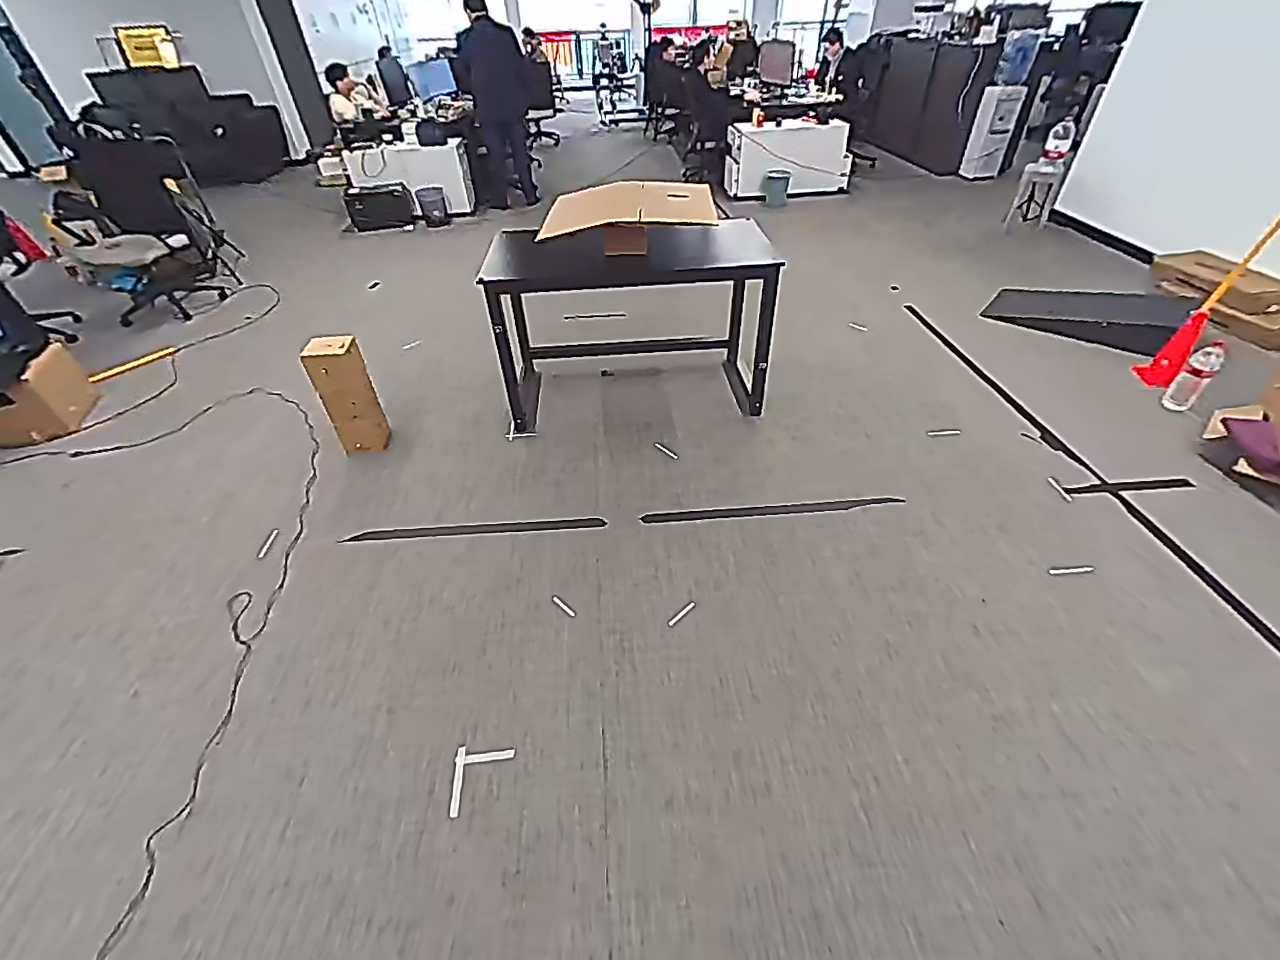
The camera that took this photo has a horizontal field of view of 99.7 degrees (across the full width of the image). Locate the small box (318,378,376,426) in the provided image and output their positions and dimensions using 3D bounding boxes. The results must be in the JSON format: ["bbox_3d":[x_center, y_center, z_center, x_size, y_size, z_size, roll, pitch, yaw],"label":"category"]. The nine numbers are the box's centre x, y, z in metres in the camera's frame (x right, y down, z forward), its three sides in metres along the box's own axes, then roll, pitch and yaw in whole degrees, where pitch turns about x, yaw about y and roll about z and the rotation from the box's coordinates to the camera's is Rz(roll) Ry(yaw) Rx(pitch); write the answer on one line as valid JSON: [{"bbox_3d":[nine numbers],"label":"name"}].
[{"bbox_3d":[-1.297,-0.352,2.403,0.168,0.176,0.179,-8,40,-8],"label":"small box"}]

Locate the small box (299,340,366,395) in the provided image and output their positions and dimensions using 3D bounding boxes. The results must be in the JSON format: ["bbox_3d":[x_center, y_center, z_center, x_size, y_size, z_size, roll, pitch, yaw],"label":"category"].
[{"bbox_3d":[-1.298,-0.474,2.294,0.179,0.176,0.168,-7,41,-5],"label":"small box"}]

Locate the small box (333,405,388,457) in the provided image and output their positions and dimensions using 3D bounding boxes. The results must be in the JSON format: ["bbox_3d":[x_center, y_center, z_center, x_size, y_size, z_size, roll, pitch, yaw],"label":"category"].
[{"bbox_3d":[-1.287,-0.226,2.506,0.168,0.176,0.179,-7,42,-5],"label":"small box"}]
